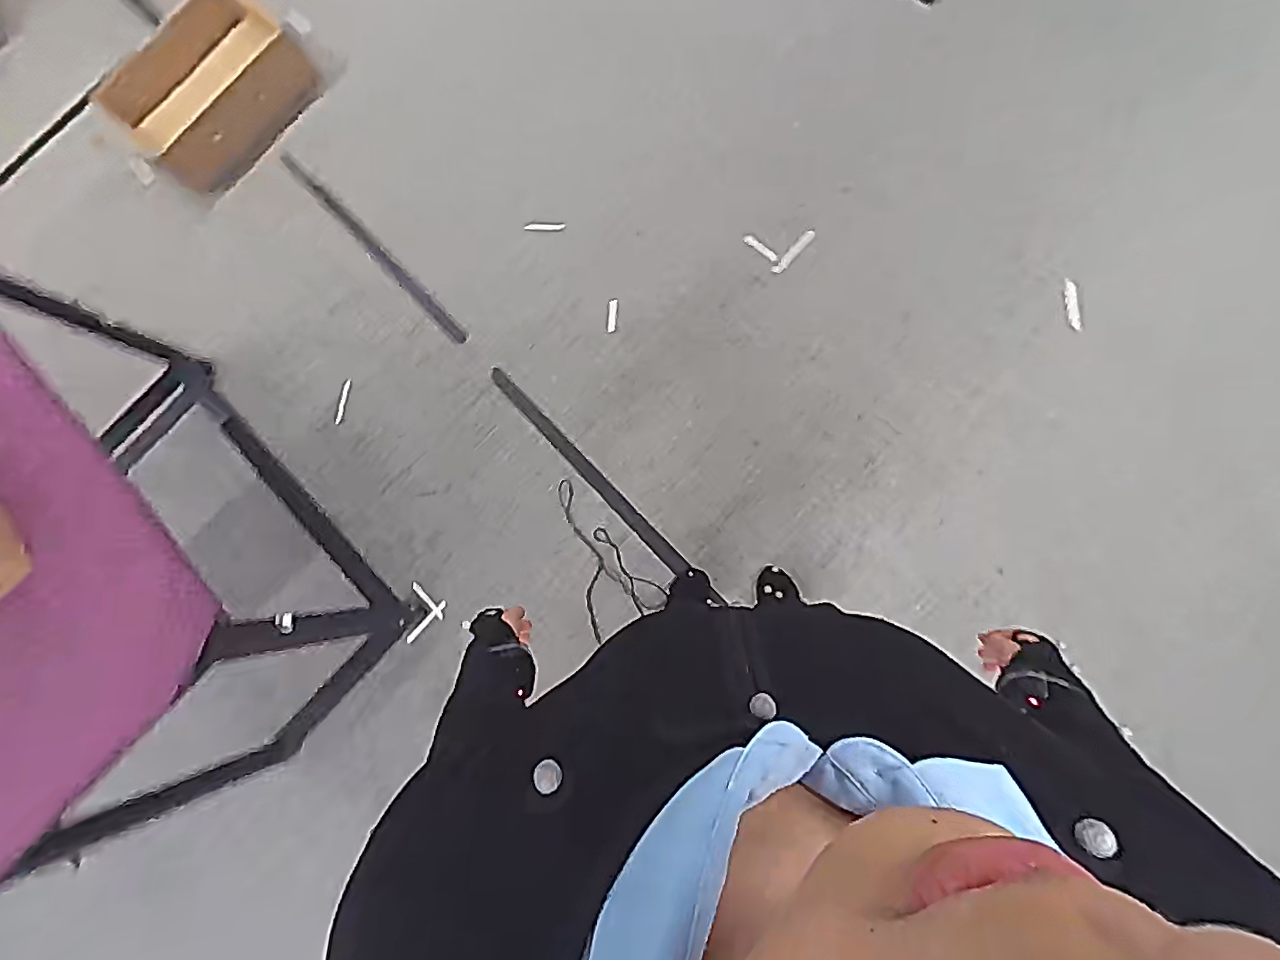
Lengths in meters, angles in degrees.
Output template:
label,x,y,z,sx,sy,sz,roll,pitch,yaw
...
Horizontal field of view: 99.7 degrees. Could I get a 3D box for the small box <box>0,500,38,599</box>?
label,x,y,z,sx,sy,sz,roll,pitch,yaw
small box,-1.151,0.120,0.863,0.168,0.176,0.179,-44,78,-1
